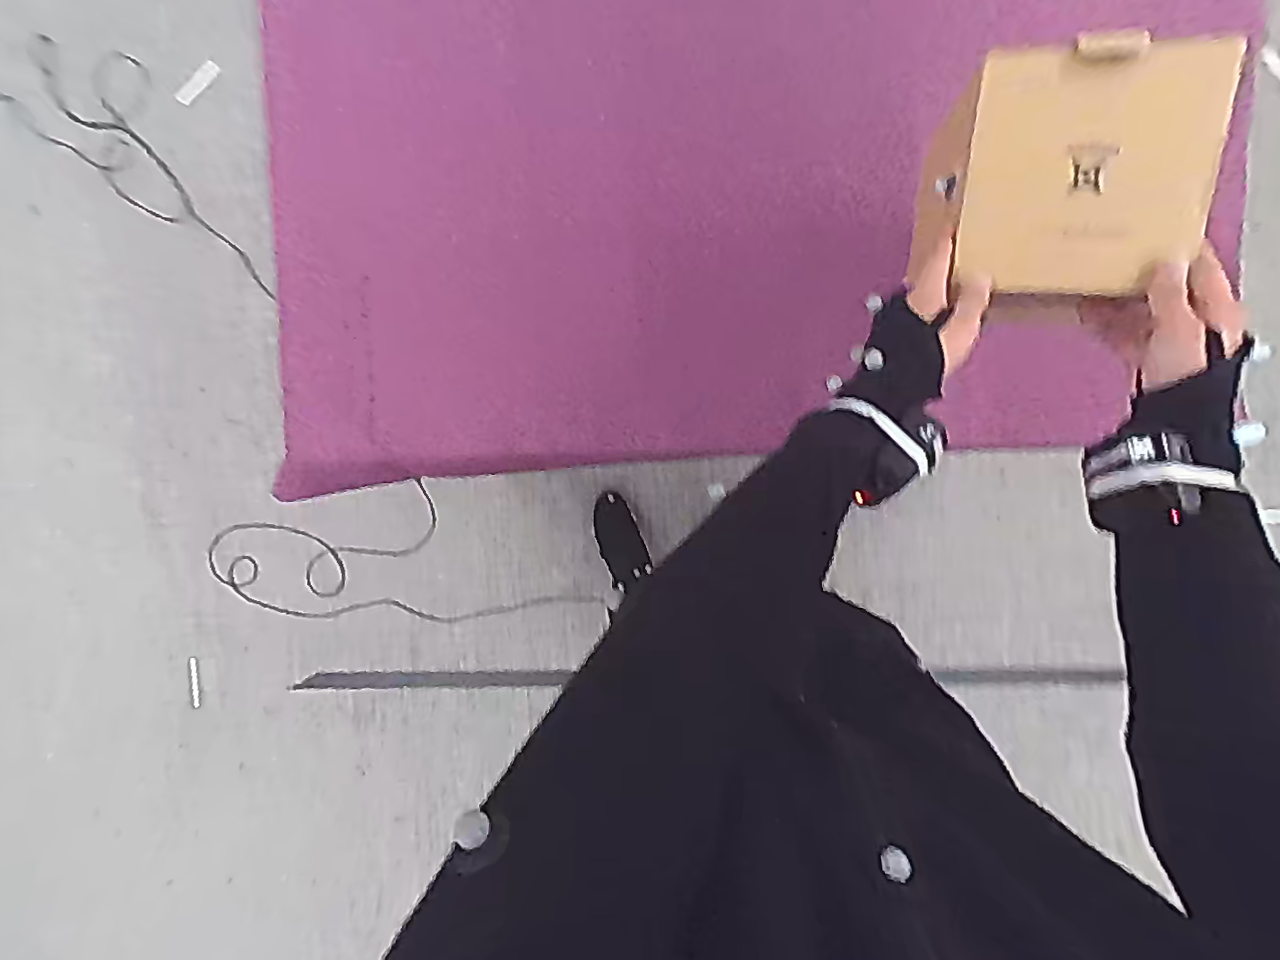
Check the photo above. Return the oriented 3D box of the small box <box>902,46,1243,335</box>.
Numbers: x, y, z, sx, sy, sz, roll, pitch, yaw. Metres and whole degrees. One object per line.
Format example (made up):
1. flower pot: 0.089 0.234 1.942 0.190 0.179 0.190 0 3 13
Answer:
1. small box: 0.347 -0.234 0.478 0.168 0.176 0.179 7 99 12
